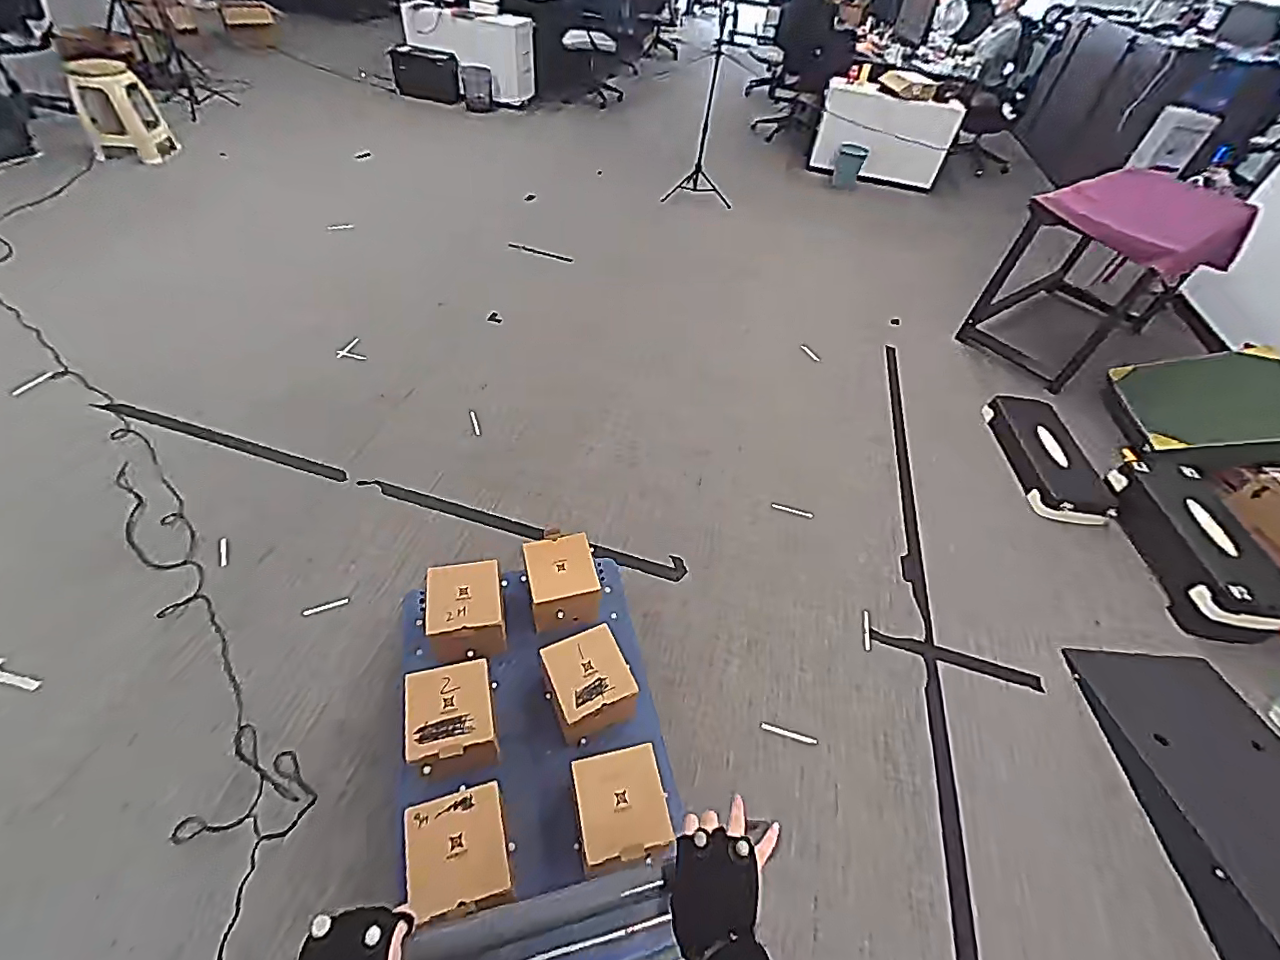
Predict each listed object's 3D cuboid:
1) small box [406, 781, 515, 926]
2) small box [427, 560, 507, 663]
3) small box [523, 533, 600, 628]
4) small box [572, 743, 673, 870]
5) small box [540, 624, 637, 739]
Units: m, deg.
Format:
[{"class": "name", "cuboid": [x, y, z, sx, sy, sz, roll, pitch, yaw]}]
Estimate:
[{"class": "small box", "cuboid": [-0.329, 0.694, 1.004, 0.168, 0.176, 0.179, -9, 51, -17]}, {"class": "small box", "cuboid": [-0.419, 0.321, 1.322, 0.168, 0.176, 0.179, -6, 51, -13]}, {"class": "small box", "cuboid": [-0.204, 0.267, 1.404, 0.168, 0.176, 0.179, -10, 51, -16]}, {"class": "small box", "cuboid": [-0.043, 0.657, 1.082, 0.168, 0.176, 0.179, -6, 49, -14]}, {"class": "small box", "cuboid": [-0.120, 0.467, 1.238, 0.168, 0.176, 0.179, -17, 52, -22]}]
